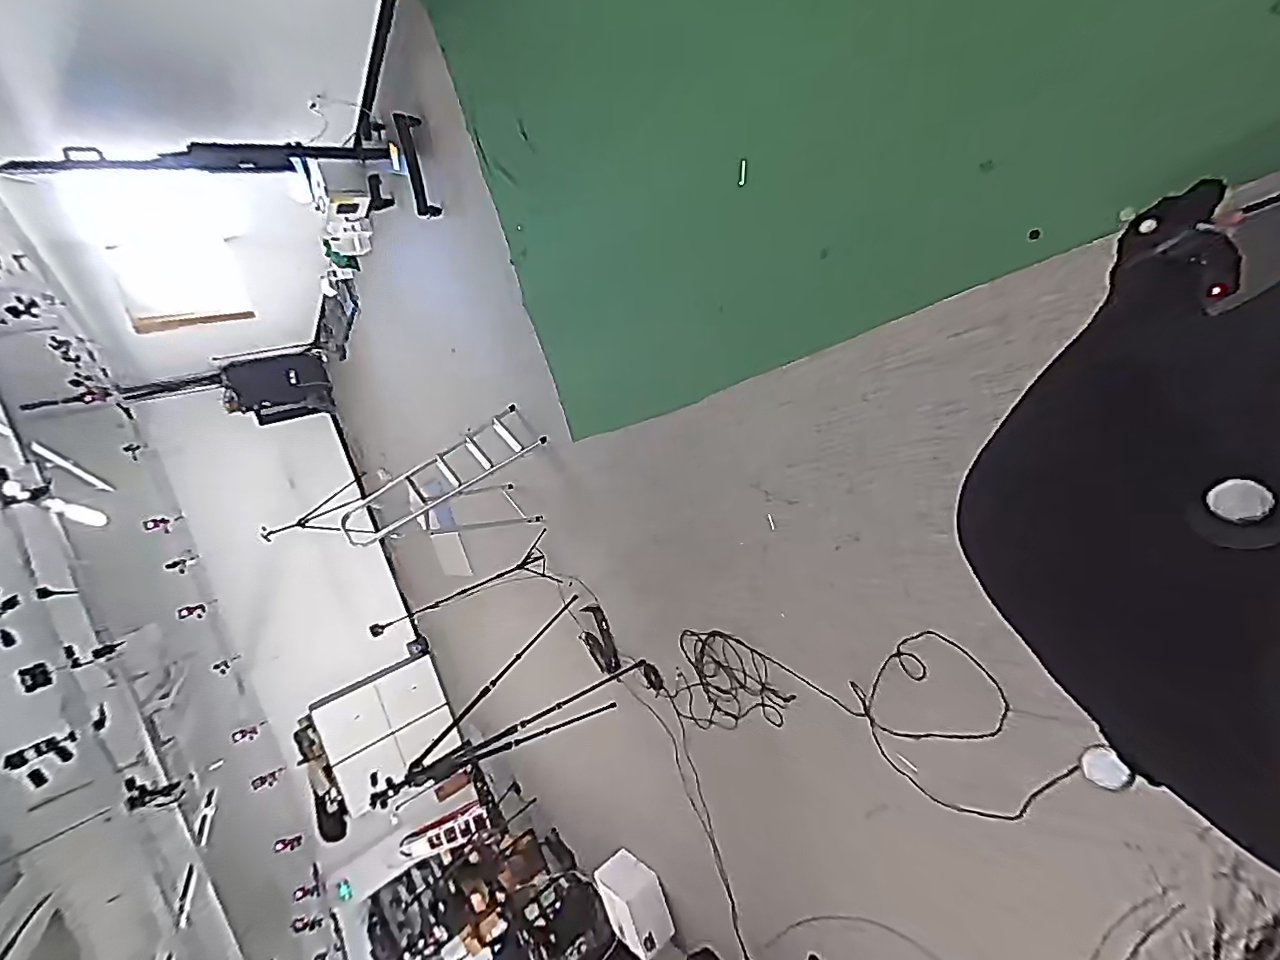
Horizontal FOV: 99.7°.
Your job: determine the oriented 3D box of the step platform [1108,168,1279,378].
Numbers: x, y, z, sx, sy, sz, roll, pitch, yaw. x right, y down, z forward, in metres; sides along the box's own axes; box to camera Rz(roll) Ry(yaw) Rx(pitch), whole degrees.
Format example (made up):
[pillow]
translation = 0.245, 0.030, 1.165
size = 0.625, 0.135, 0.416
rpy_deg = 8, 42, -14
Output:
[step platform]
translation = 1.134, -0.386, 0.764
size = 0.684, 0.204, 0.286
rpy_deg = -14, 97, 55
